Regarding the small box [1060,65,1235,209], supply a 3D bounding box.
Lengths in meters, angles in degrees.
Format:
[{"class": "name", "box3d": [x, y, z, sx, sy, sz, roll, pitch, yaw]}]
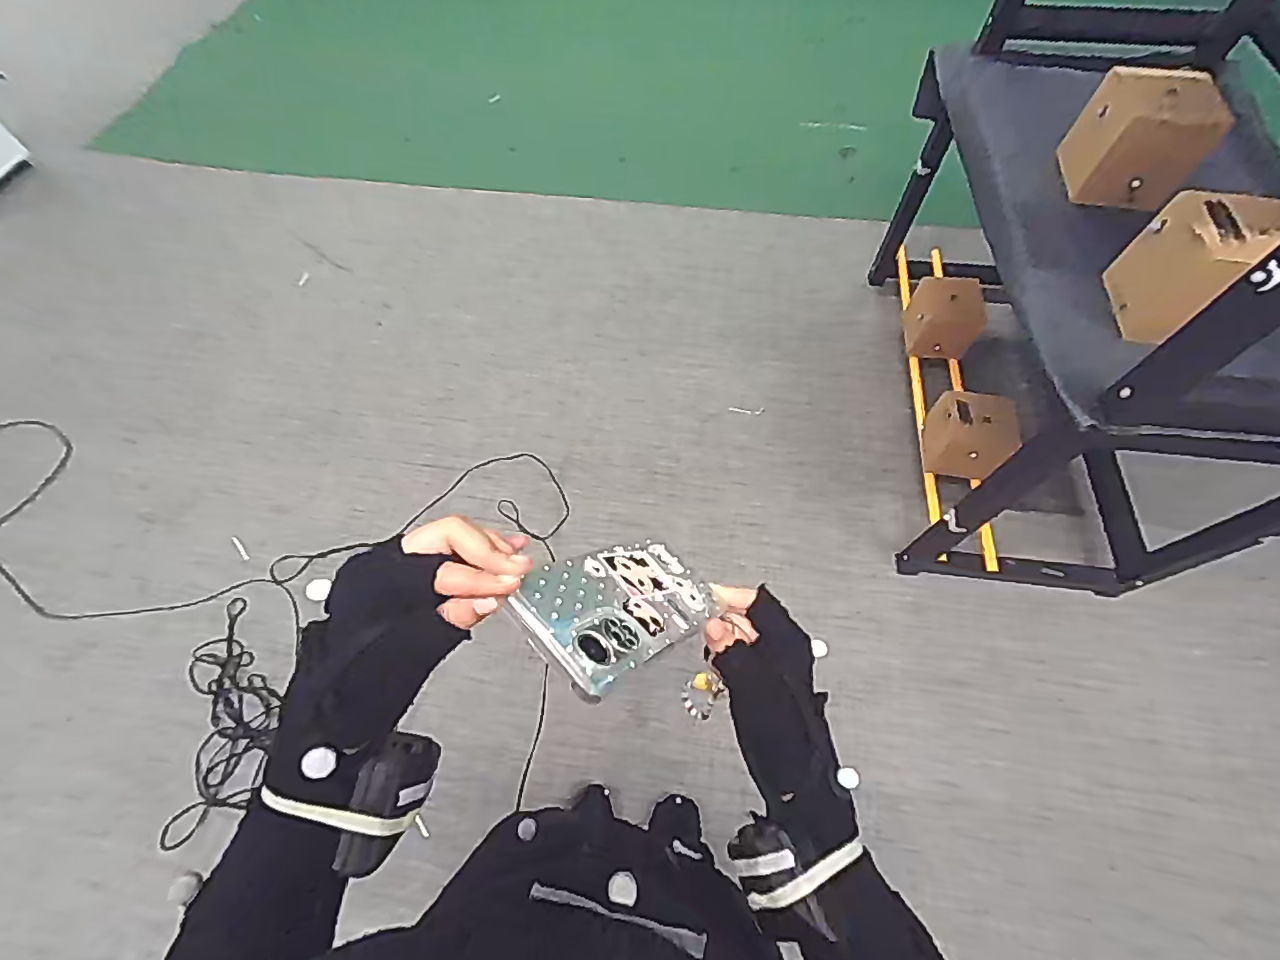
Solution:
[{"class": "small box", "box3d": [0.961, -0.662, 1.047, 0.168, 0.176, 0.179, 9, 62, 6]}]

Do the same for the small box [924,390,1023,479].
[{"class": "small box", "box3d": [0.888, -0.119, 1.463, 0.179, 0.176, 0.168, 9, 62, 6]}]
